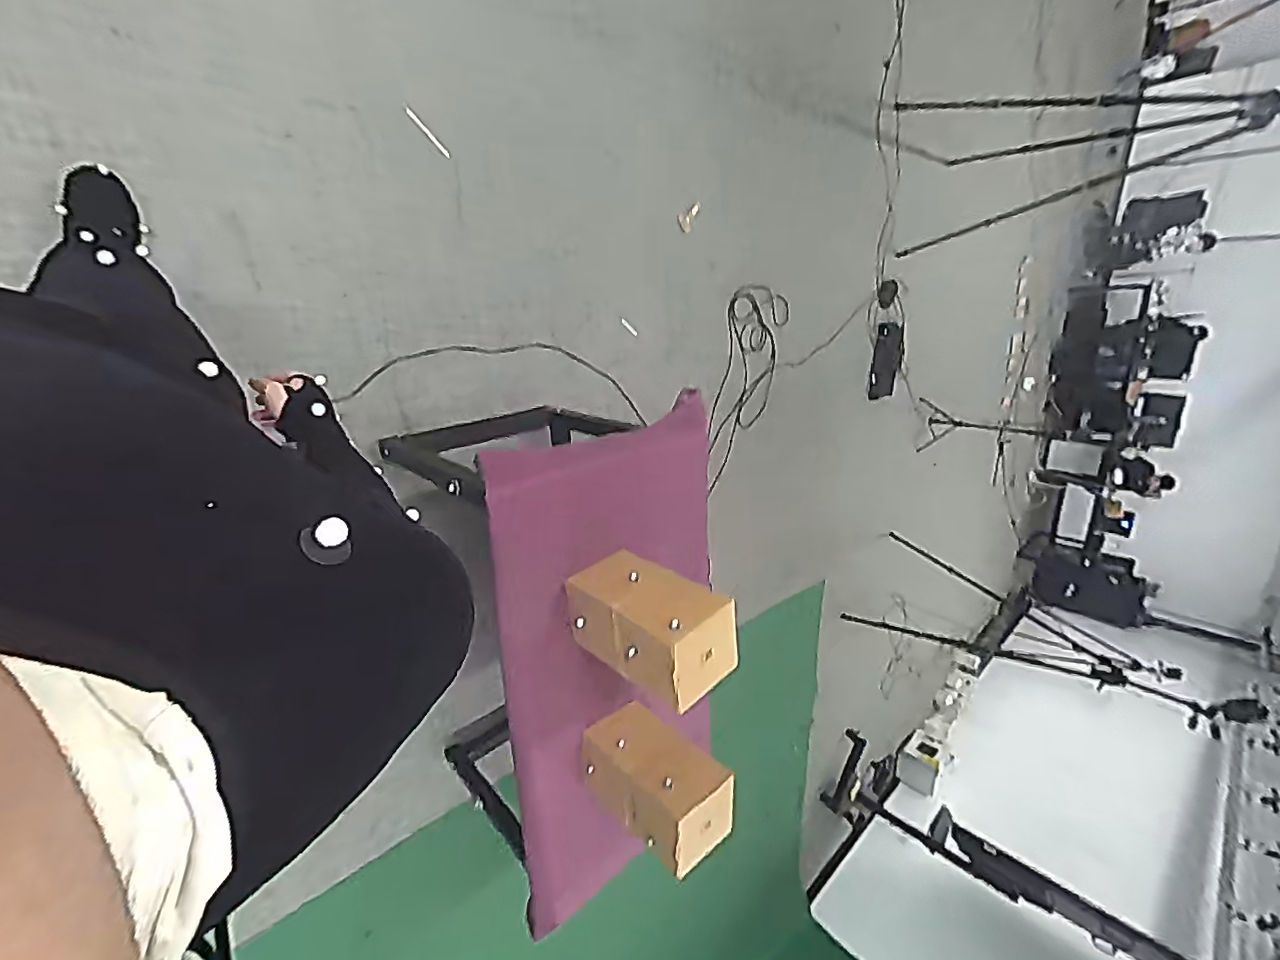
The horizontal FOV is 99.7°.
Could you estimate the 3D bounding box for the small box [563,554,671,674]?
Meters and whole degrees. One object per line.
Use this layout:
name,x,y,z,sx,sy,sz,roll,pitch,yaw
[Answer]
small box,-0.046,0.283,1.190,0.179,0.176,0.168,-22,116,-37

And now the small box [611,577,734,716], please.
small box,0.066,0.319,1.077,0.179,0.176,0.168,-24,118,-36

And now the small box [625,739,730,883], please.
small box,0.078,0.725,1.206,0.179,0.176,0.168,-14,112,-39
